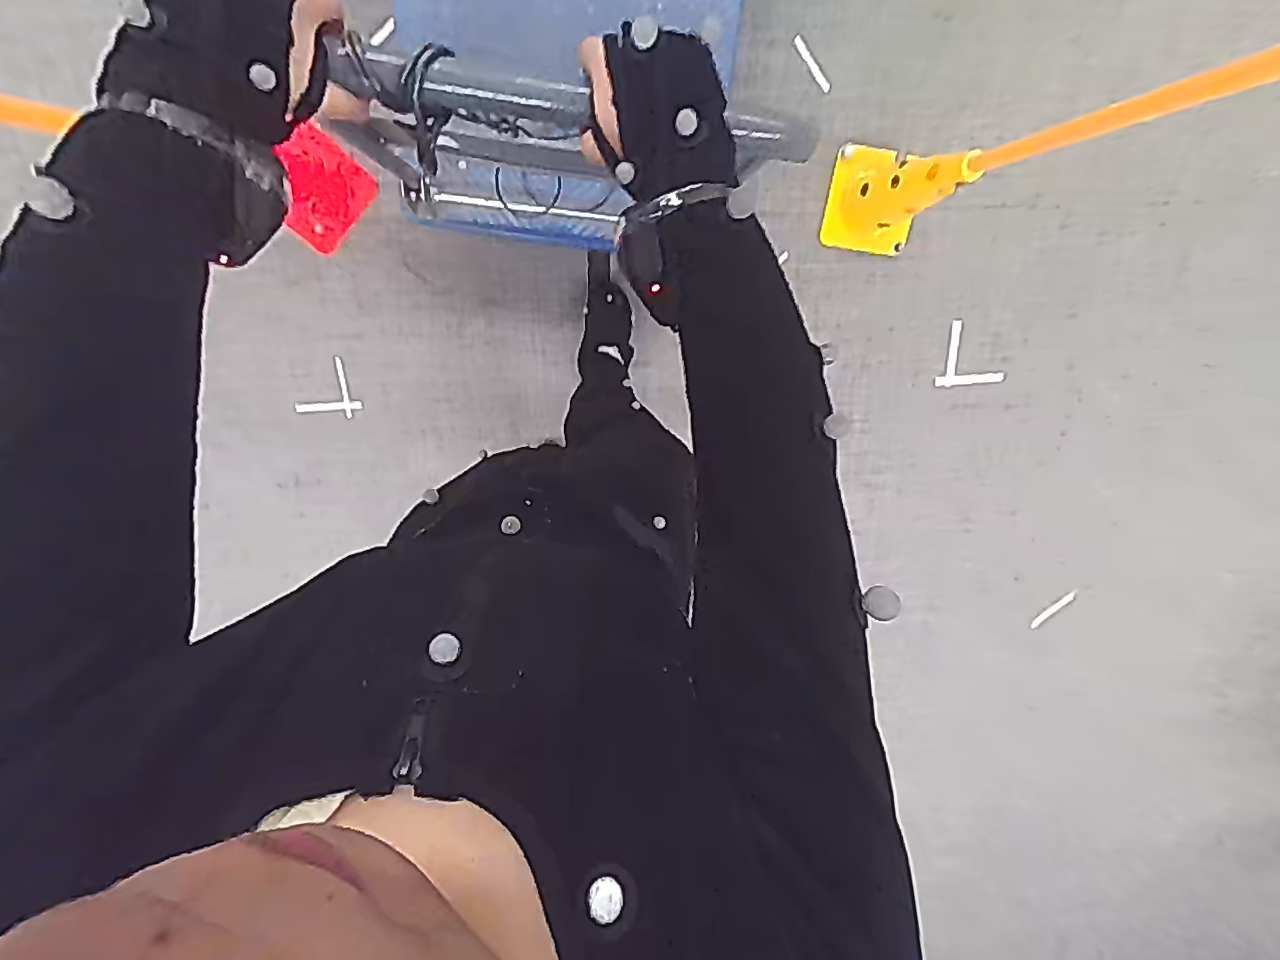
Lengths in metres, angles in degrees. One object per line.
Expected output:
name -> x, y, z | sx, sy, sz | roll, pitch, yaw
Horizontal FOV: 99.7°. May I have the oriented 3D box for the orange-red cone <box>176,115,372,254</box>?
orange-red cone -> -0.662, -0.542, 0.938 | 0.198, 0.360, 0.199 | 42, 100, -17
